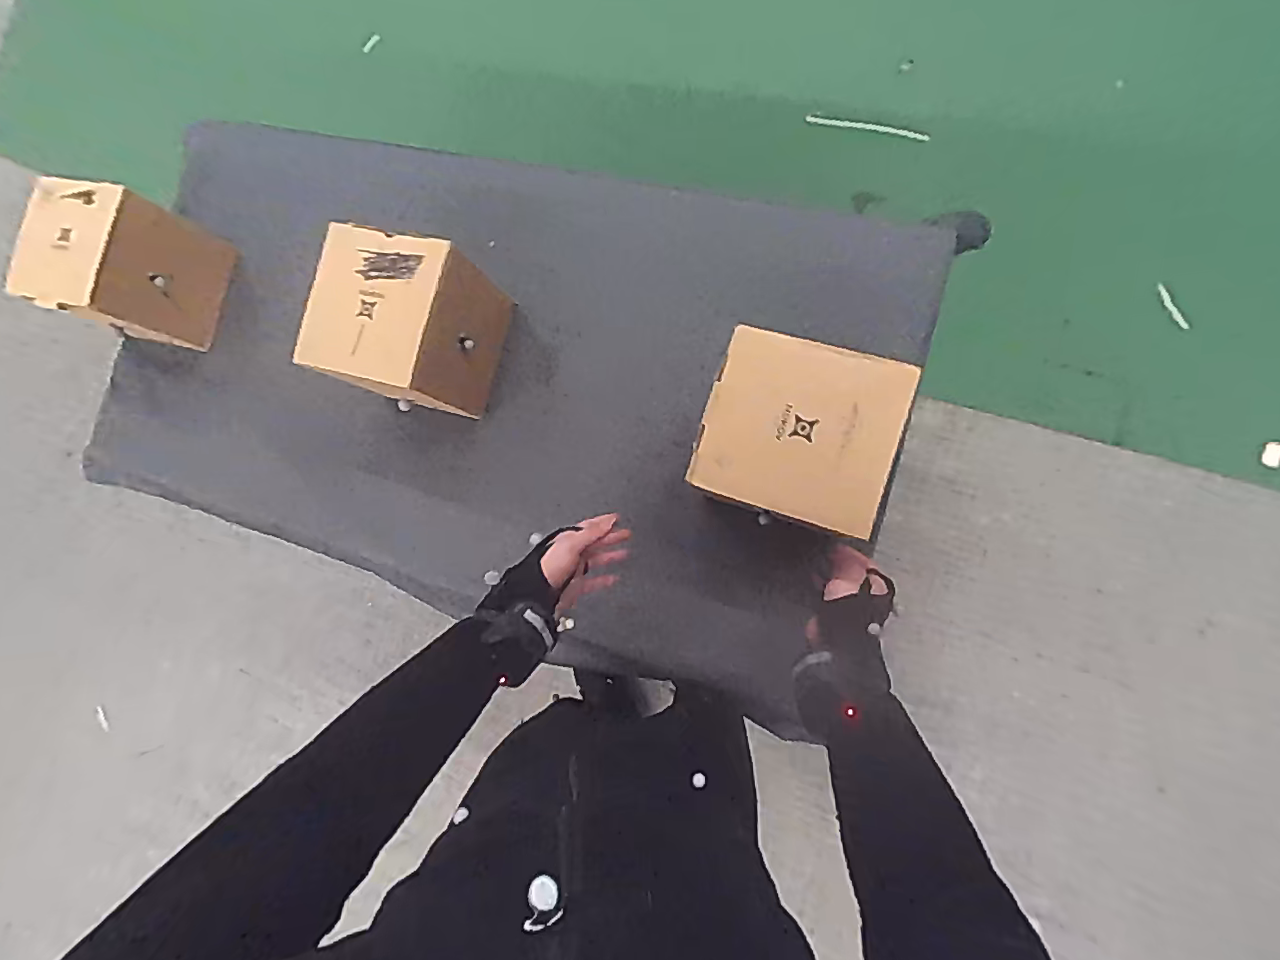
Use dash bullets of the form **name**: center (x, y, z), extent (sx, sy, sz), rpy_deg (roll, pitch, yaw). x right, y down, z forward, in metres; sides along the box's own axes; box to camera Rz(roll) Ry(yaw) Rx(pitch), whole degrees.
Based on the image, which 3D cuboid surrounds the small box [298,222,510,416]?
- **small box**: center (-0.289, -0.197, 0.699), extent (0.168, 0.176, 0.179), rpy_deg (15, 89, 14)

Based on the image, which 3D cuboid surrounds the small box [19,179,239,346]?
- **small box**: center (-0.759, -0.319, 0.819), extent (0.168, 0.176, 0.179), rpy_deg (12, 88, 13)

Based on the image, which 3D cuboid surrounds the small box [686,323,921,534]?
- **small box**: center (0.165, -0.045, 0.580), extent (0.179, 0.176, 0.168), rpy_deg (18, 90, 13)
